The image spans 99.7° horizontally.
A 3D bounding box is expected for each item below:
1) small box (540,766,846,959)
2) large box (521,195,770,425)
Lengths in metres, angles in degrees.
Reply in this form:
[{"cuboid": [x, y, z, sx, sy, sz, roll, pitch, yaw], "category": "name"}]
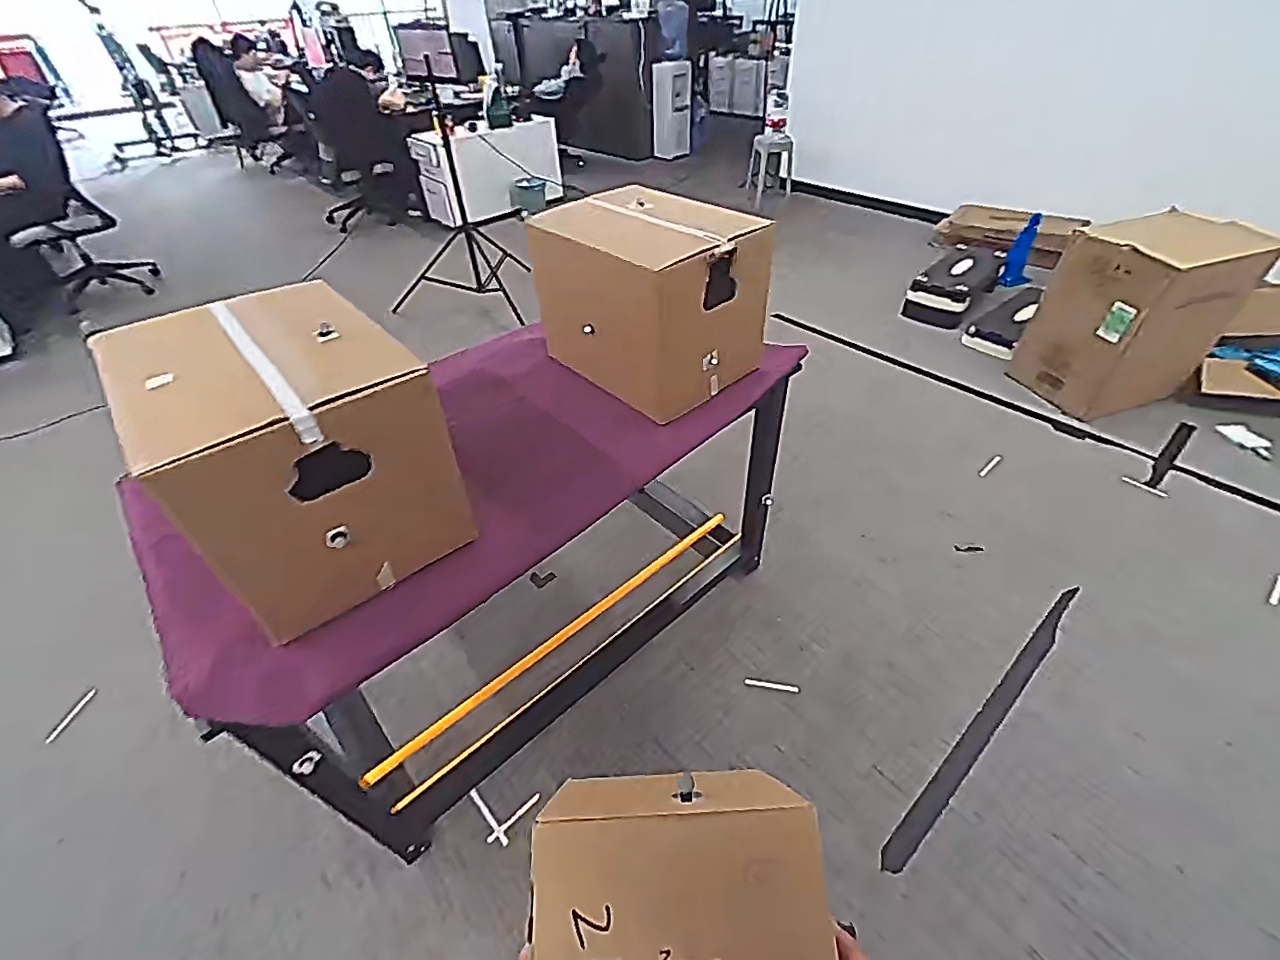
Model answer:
[{"cuboid": [0.030, 0.303, 0.377, 0.179, 0.176, 0.168, -3, 68, 0], "category": "small box"}, {"cuboid": [0.014, -0.373, 1.147, 0.320, 0.320, 0.408, -33, 49, -29], "category": "large box"}]
